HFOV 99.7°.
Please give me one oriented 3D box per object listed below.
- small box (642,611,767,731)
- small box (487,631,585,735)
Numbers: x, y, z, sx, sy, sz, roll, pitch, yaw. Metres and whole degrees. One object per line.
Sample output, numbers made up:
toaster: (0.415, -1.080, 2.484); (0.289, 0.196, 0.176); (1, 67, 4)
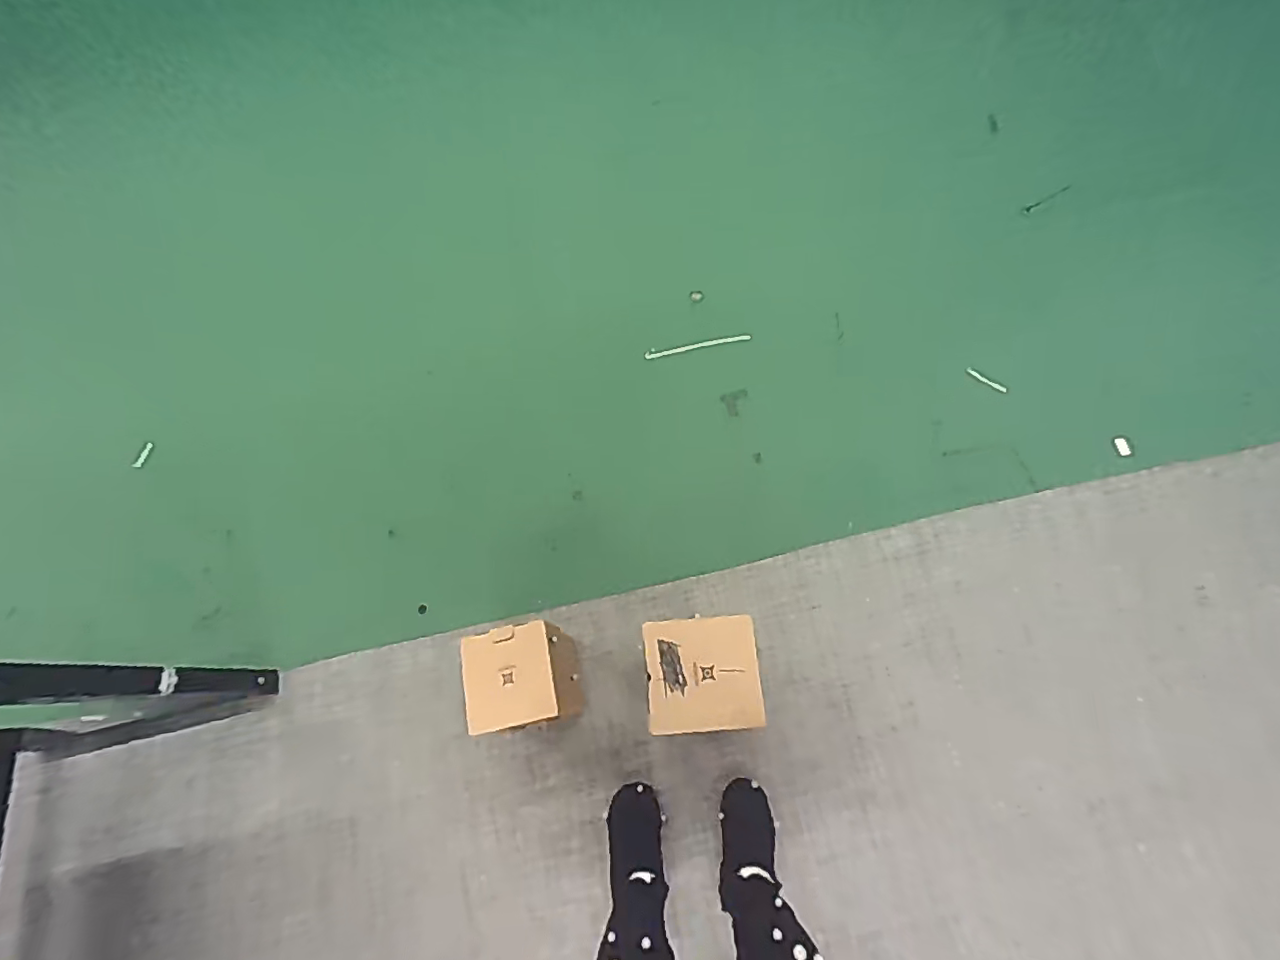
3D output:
small box: (0.099, 0.315, 0.891); (0.179, 0.176, 0.168); (-5, 70, 0)
small box: (-0.226, 0.447, 1.208); (0.168, 0.176, 0.179); (-15, 71, -3)
